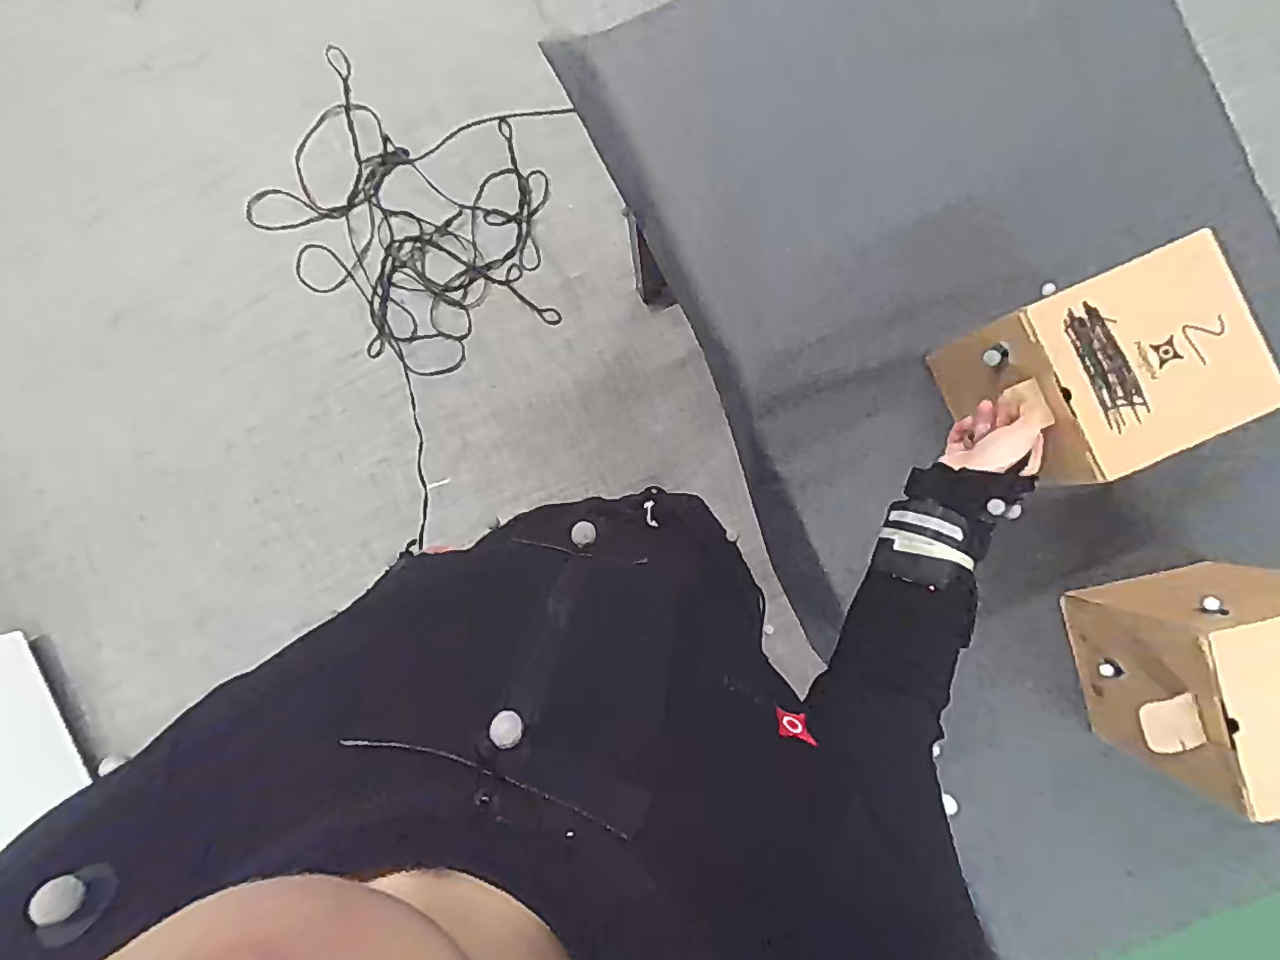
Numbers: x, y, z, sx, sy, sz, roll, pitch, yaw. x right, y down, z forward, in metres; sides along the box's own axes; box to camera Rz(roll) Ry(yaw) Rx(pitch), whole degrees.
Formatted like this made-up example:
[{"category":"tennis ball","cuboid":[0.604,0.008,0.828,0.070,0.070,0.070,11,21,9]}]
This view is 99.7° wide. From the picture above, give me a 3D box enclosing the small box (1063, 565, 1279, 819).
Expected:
[{"category":"small box","cuboid":[0.578,0.189,0.534,0.179,0.176,0.168,-13,89,3]}]
